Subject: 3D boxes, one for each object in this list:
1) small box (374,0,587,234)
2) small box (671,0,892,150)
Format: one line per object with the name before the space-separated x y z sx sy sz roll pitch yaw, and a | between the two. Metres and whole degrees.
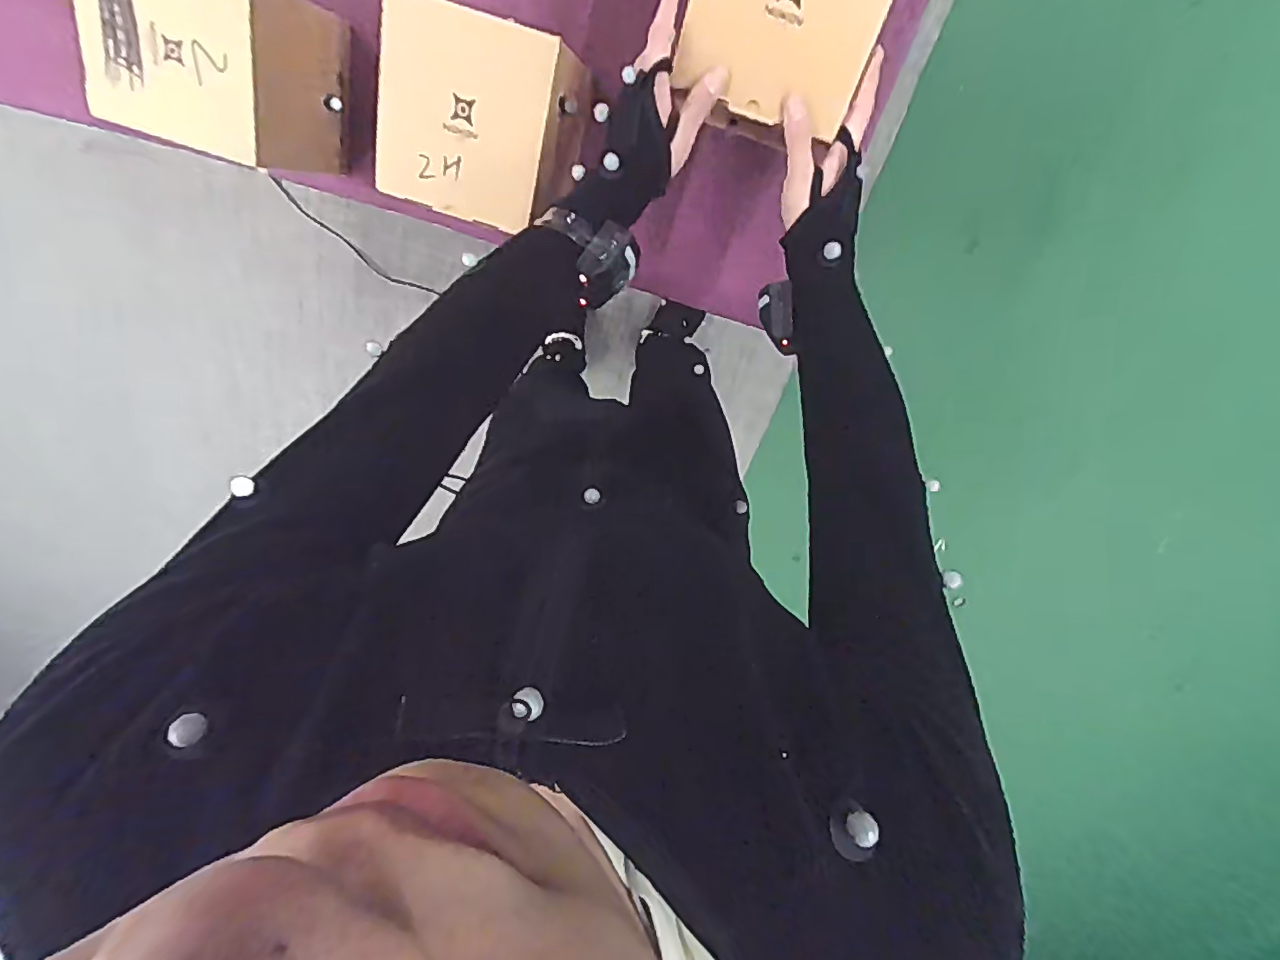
small box | -0.164 -0.390 0.594 0.168 0.176 0.179 18 118 -2
small box | 0.136 -0.449 0.528 0.168 0.176 0.179 18 119 -3
